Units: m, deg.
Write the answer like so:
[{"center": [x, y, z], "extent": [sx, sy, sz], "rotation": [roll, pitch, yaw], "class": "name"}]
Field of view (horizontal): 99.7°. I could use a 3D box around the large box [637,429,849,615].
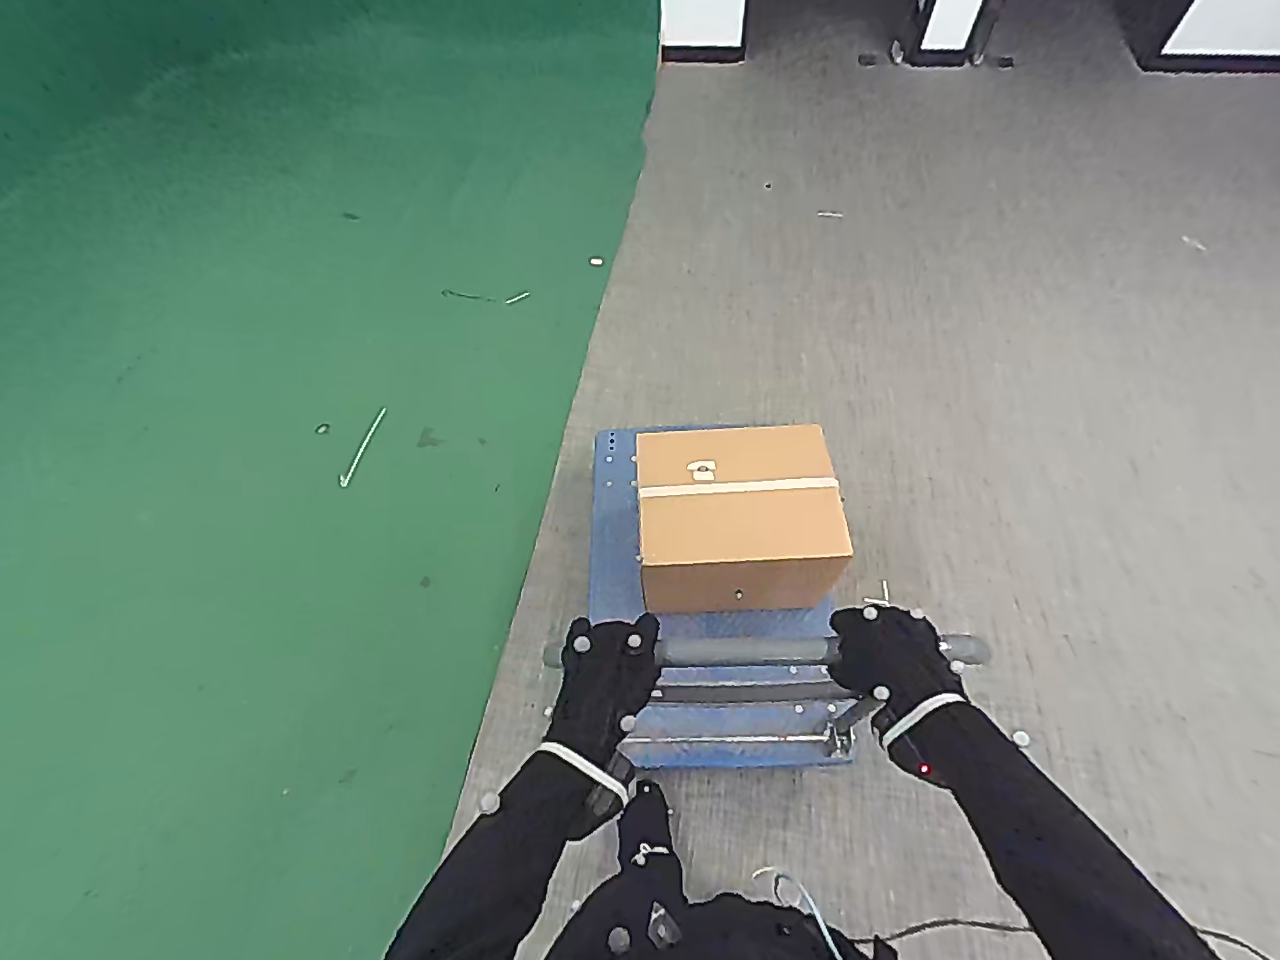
[{"center": [0.209, 0.108, 1.242], "extent": [0.408, 0.320, 0.320], "rotation": [-4, 58, 3], "class": "large box"}]
